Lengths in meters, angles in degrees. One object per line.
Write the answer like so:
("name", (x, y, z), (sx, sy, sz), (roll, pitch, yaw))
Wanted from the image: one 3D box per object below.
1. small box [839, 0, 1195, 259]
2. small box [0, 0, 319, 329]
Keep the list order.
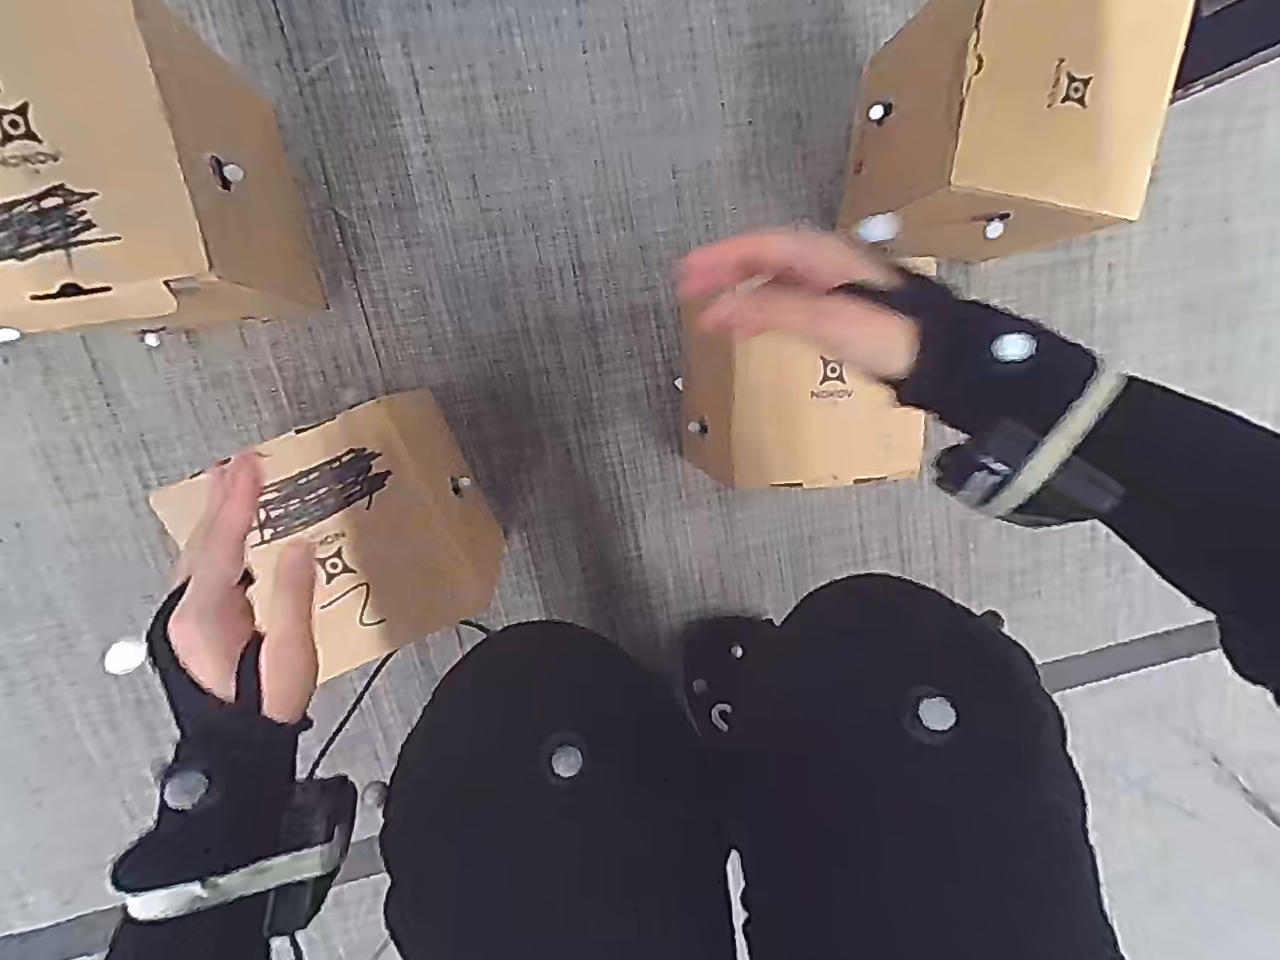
("small box", (0.312, -0.307, 0.485), (0.179, 0.176, 0.168), (5, 101, -9))
("small box", (-0.366, -0.209, 0.390), (0.168, 0.176, 0.179), (-11, 102, -8))
